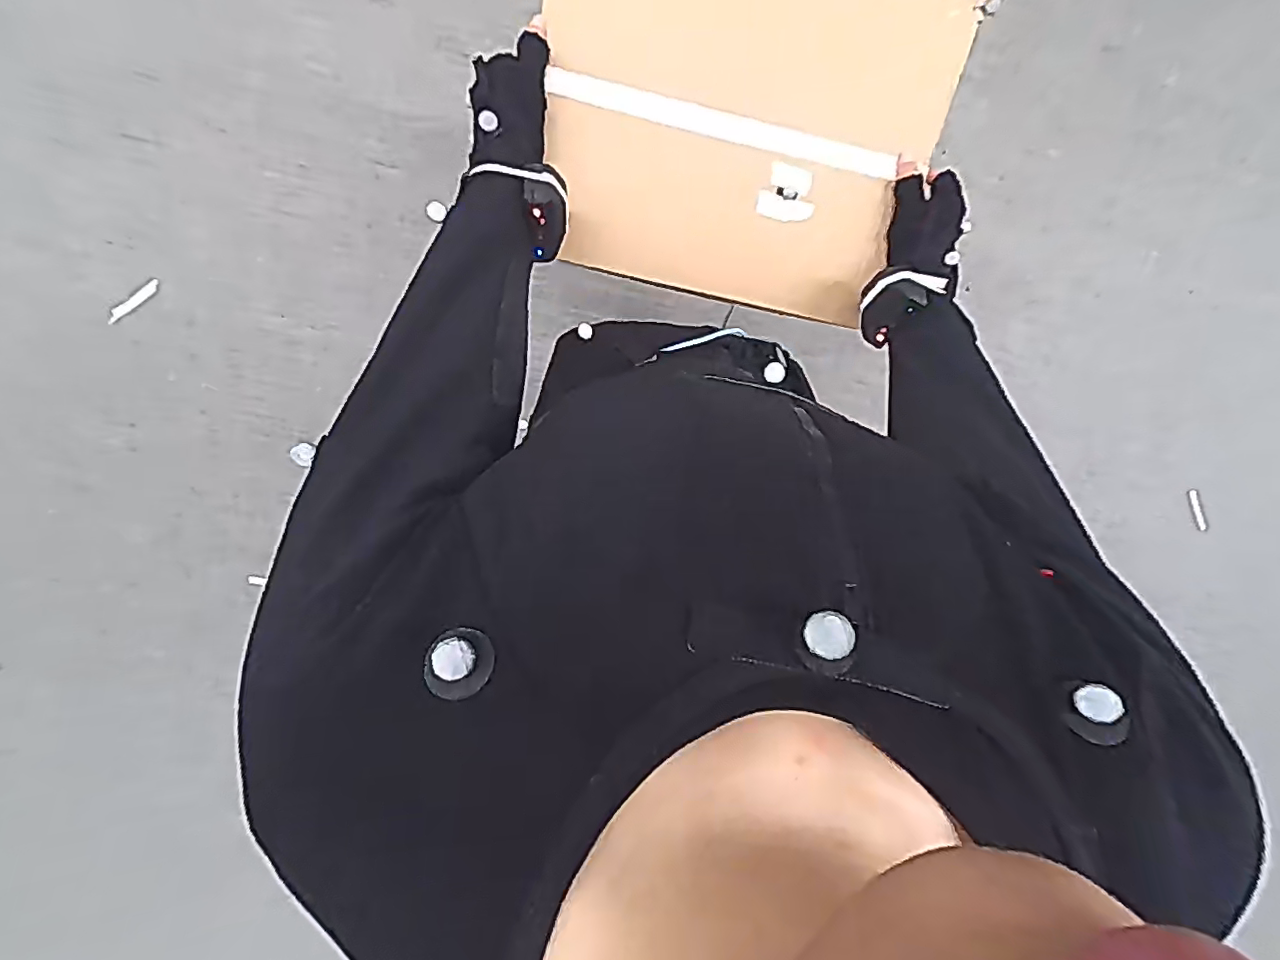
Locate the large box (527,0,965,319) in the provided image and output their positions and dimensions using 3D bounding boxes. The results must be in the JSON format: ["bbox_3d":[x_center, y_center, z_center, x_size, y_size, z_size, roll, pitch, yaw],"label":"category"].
[{"bbox_3d":[0.089,-0.410,0.696,0.408,0.320,0.320,10,110,-7],"label":"large box"}]
